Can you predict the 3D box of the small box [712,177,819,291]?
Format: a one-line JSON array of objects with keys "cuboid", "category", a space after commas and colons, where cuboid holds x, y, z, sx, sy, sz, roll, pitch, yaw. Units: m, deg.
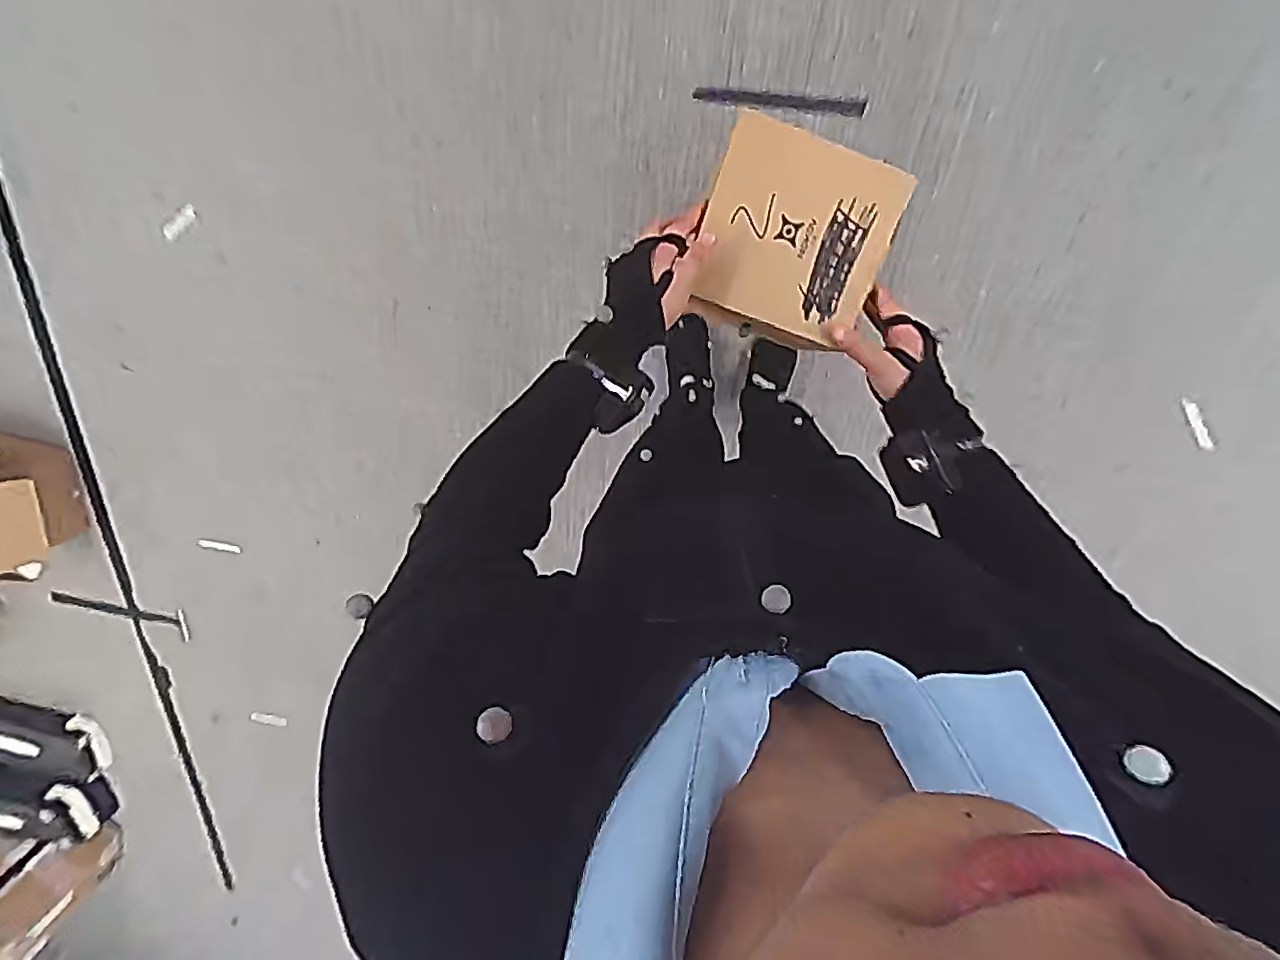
[{"cuboid": [0.229, -0.466, 1.033, 0.168, 0.176, 0.179, 7, 115, 5], "category": "small box"}]
